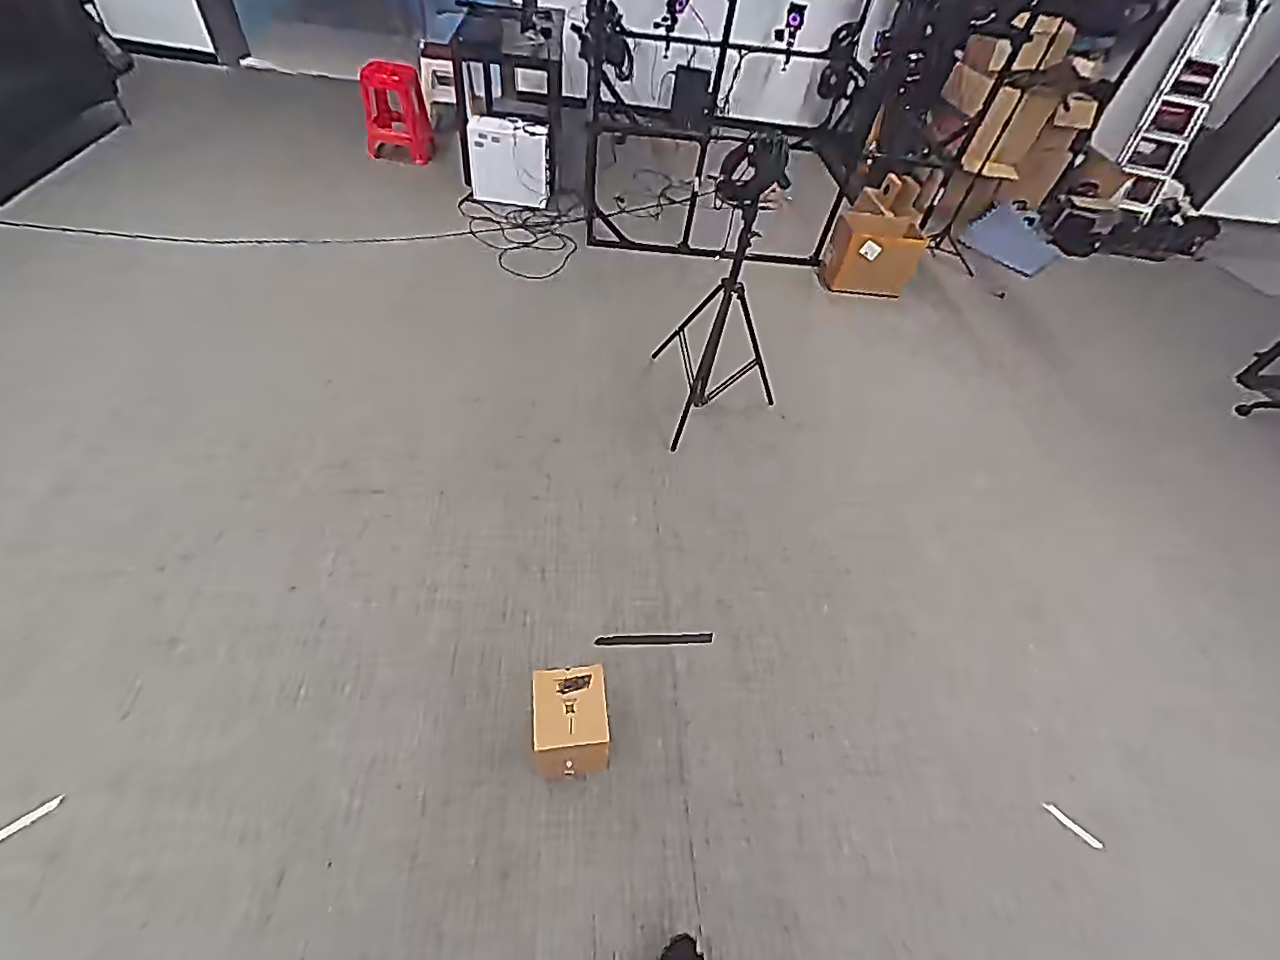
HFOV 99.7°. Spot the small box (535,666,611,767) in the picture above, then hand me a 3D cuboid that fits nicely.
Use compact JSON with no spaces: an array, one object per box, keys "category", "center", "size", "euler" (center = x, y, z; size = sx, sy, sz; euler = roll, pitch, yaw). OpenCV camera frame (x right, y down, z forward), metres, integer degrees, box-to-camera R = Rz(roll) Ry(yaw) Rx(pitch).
[{"category":"small box","center":[-0.164,0.562,1.284],"size":[0.168,0.176,0.179],"euler":[-2,52,-10]}]

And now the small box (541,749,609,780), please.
[{"category":"small box","center":[-0.176,0.662,1.413],"size":[0.168,0.176,0.179],"euler":[-3,51,-11]}]
